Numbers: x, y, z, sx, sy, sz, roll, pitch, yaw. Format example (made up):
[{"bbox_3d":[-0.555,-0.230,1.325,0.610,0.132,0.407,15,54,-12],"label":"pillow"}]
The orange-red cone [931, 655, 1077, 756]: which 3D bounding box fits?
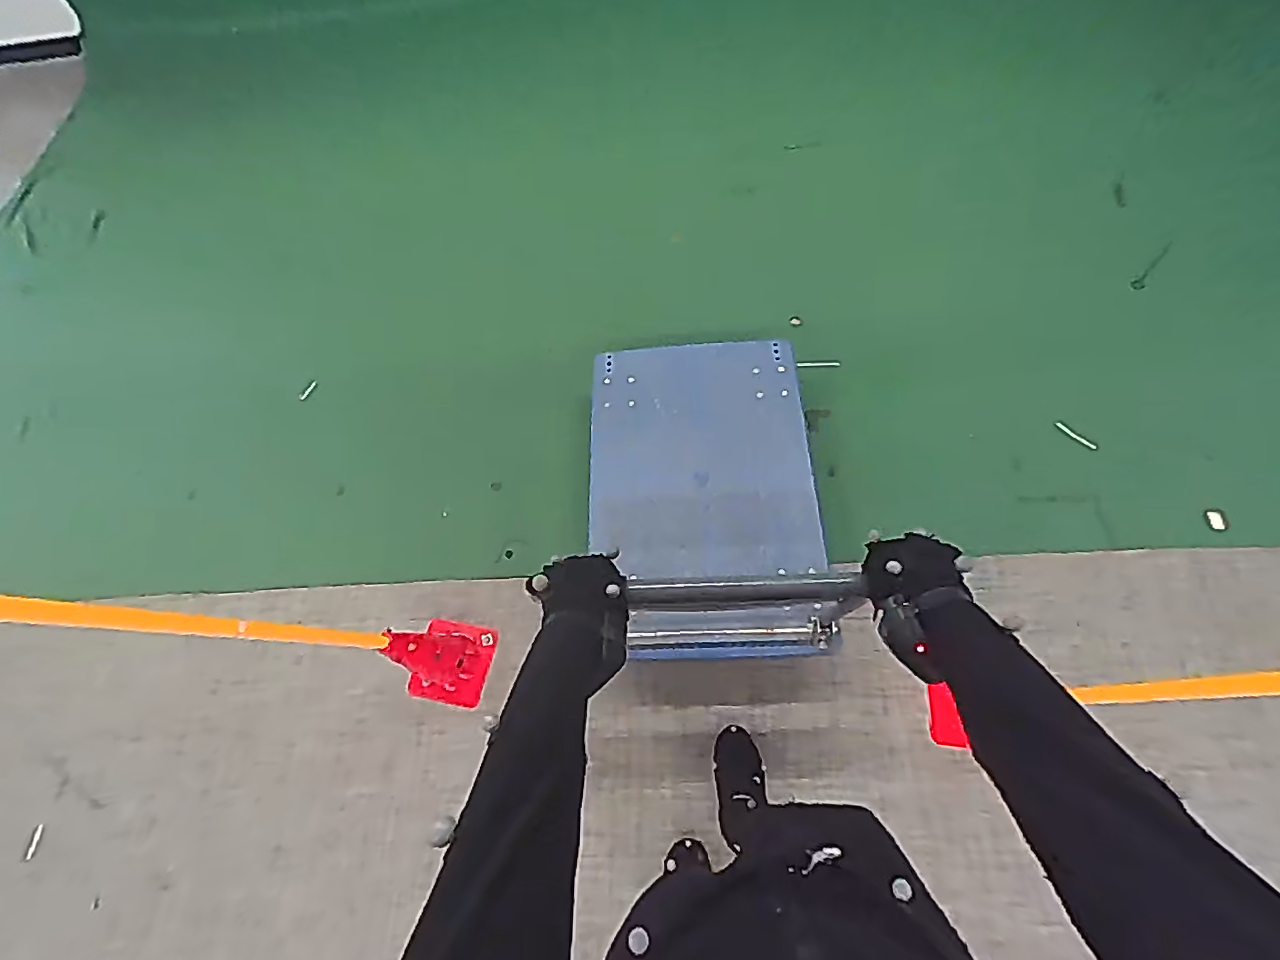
[{"bbox_3d":[0.776,0.456,1.117,0.198,0.360,0.199,7,67,9],"label":"orange-red cone"}]
